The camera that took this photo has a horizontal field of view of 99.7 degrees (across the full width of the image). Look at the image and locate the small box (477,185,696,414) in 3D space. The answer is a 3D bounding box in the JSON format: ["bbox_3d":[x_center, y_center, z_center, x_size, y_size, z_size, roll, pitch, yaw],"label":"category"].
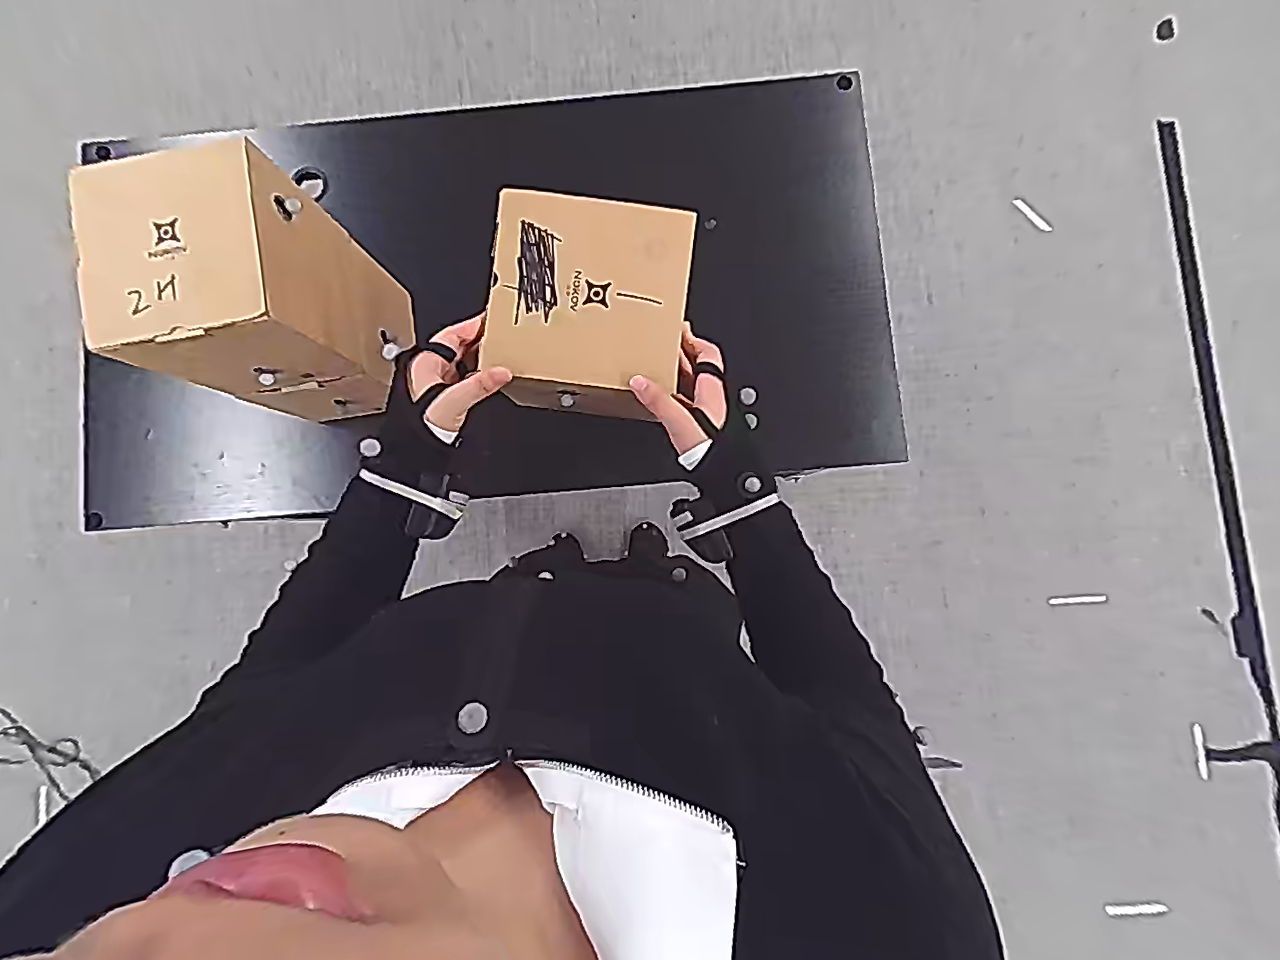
[{"bbox_3d":[-0.047,-0.167,0.554,0.179,0.176,0.168,7,89,-1],"label":"small box"}]

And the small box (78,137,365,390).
[{"bbox_3d":[-0.418,-0.210,0.567,0.168,0.176,0.179,-10,85,1],"label":"small box"}]

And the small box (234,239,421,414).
[{"bbox_3d":[-0.415,-0.192,0.732,0.168,0.176,0.179,-9,86,0],"label":"small box"}]
